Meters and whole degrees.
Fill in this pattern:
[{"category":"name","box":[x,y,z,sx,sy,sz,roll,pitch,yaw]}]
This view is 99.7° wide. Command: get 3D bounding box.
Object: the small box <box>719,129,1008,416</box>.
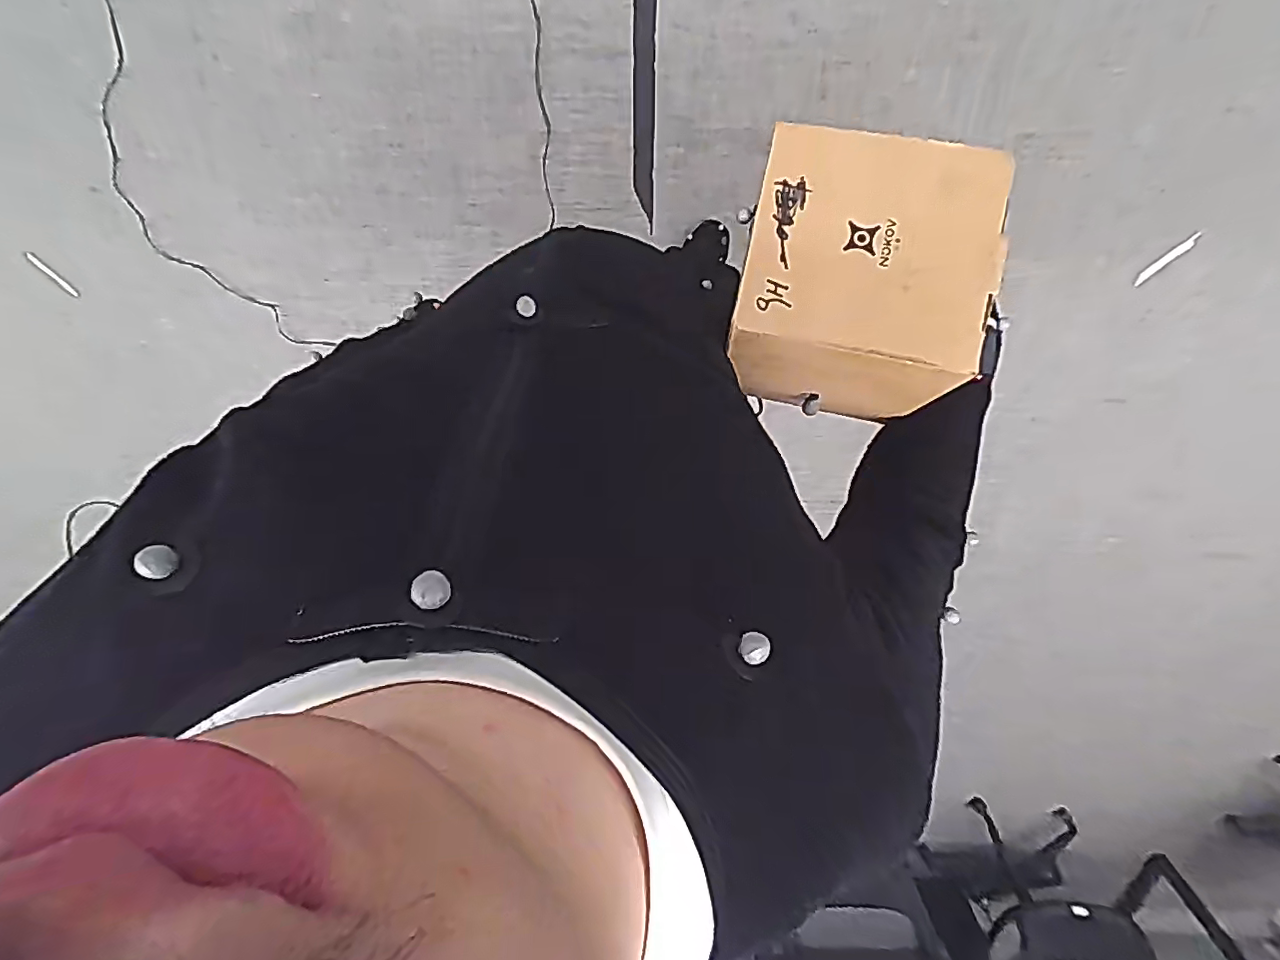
[{"category":"small box","box":[0.179,-0.165,0.485,0.179,0.176,0.168,14,84,5]}]
